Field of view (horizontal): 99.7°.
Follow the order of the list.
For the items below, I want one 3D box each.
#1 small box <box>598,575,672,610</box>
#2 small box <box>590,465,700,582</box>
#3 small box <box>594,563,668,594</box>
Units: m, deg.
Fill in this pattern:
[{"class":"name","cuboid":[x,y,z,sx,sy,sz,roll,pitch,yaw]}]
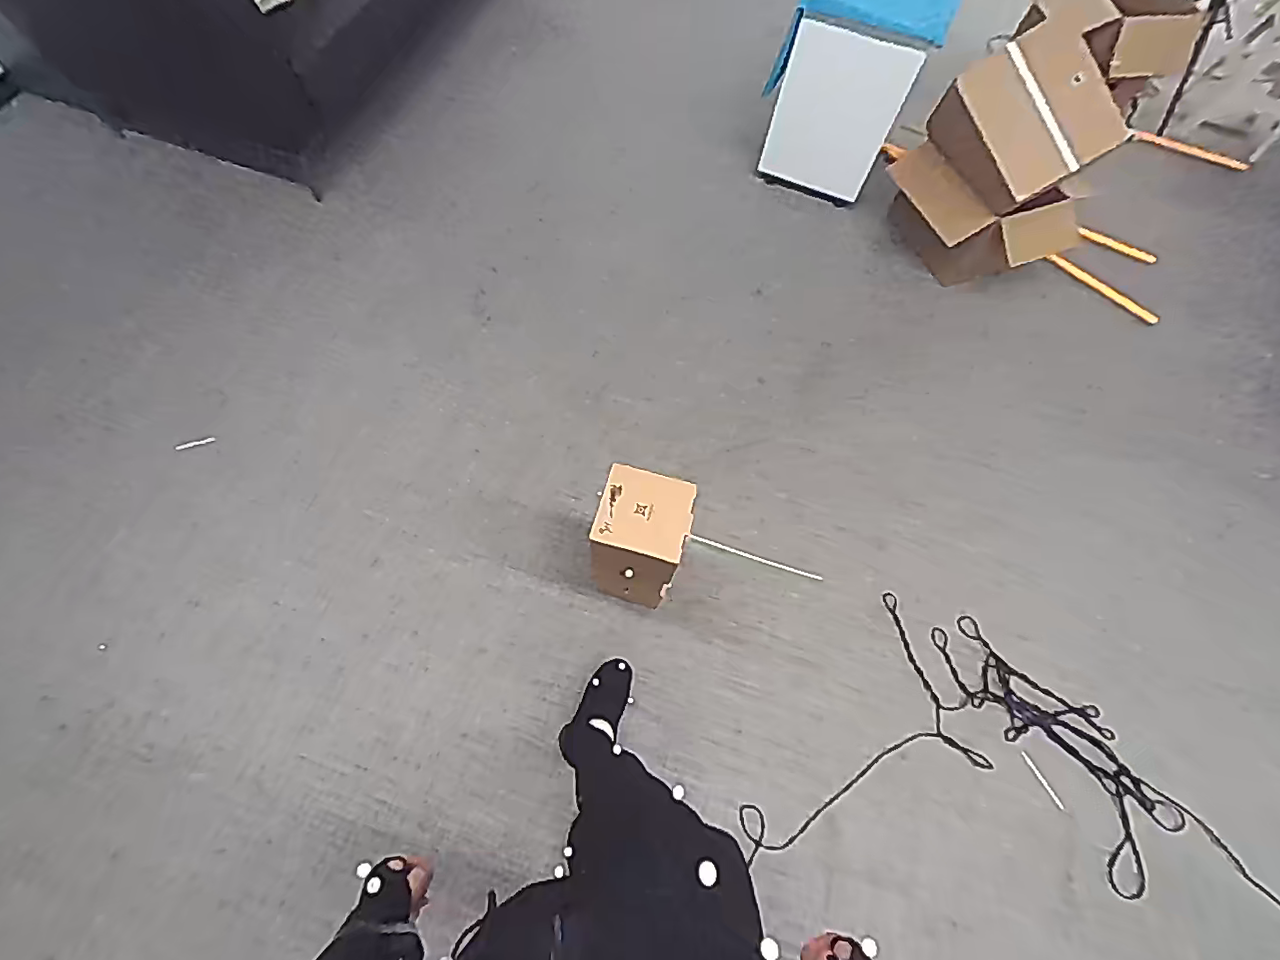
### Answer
[{"class":"small box","cuboid":[-0.003,0.222,1.396,0.179,0.176,0.168,18,66,4]},{"class":"small box","cuboid":[0.007,0.096,1.094,0.179,0.176,0.168,16,65,3]},{"class":"small box","cuboid":[-0.003,0.150,1.248,0.179,0.176,0.168,18,66,4]}]
